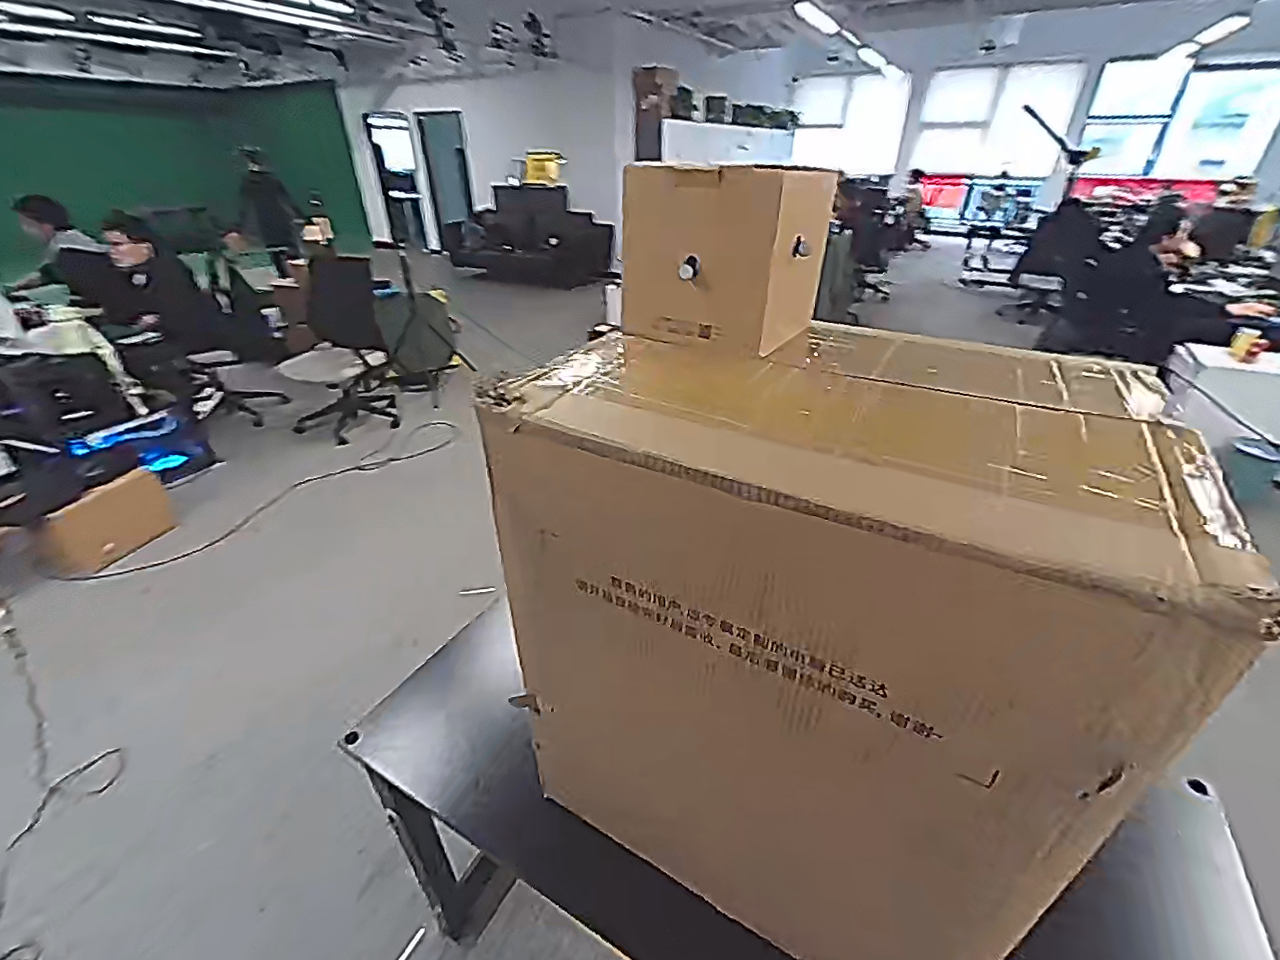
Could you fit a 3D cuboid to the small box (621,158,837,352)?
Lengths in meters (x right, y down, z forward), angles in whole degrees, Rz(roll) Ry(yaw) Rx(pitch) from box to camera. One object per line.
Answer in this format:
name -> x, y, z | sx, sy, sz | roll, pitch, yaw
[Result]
small box -> 0.095, -0.247, 0.582 | 0.168, 0.176, 0.179 | 18, 35, 26
